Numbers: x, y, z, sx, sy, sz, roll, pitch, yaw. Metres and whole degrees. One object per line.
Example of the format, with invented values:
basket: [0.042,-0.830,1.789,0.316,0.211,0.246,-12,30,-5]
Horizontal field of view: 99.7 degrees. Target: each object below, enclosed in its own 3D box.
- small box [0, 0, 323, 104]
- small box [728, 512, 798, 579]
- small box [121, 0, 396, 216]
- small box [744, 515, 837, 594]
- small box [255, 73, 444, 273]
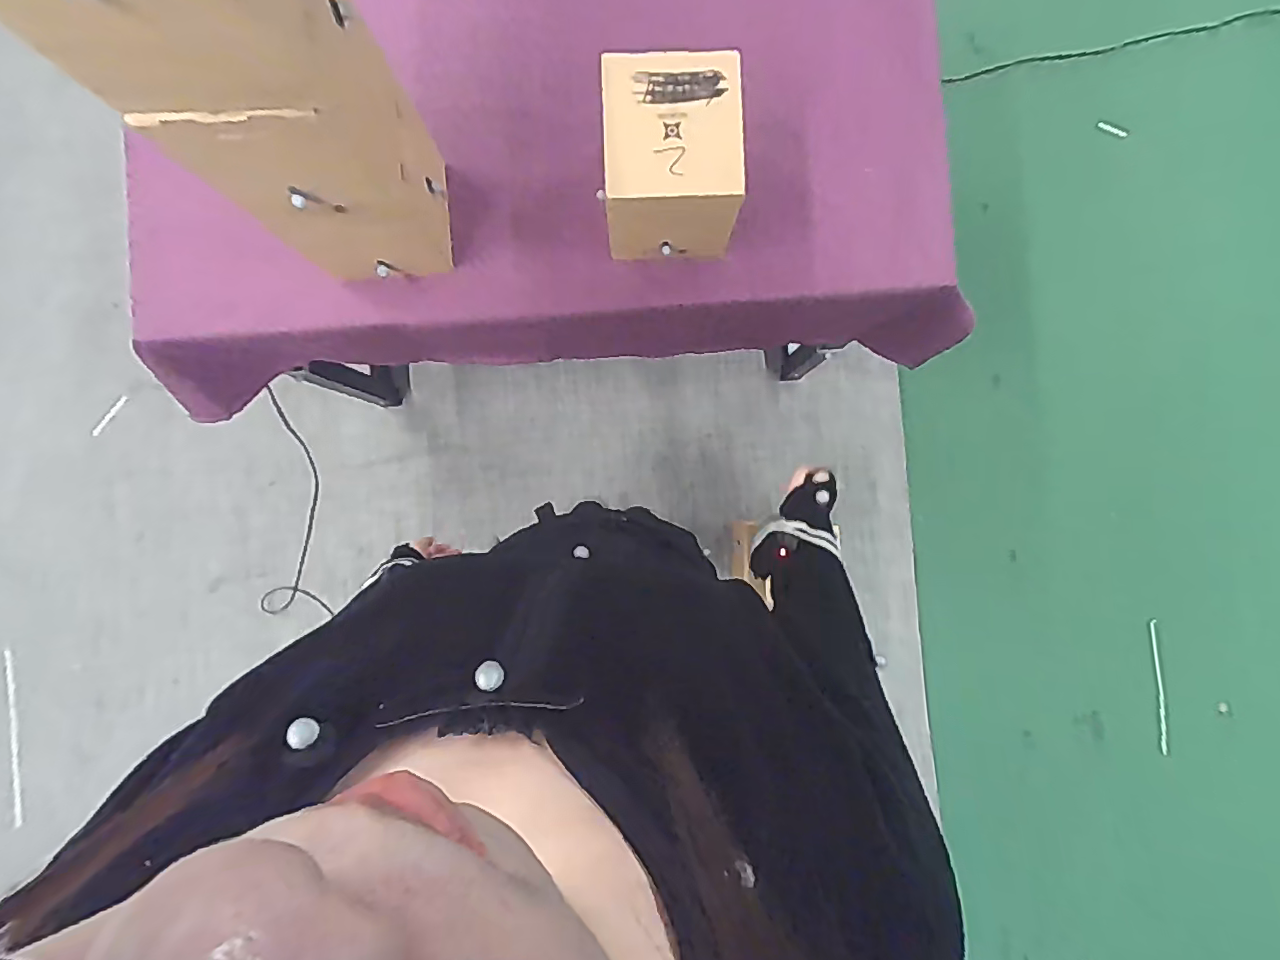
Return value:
small box: [-0.356,-0.400,0.379,0.179,0.176,0.168,-2,89,-2]
small box: [0.335,0.173,1.444,0.179,0.176,0.168,0,89,-2]
small box: [-0.364,-0.395,0.543,0.168,0.176,0.179,-4,89,-1]
small box: [0.347,0.172,1.281,0.179,0.176,0.168,-3,90,-2]
small box: [-0.367,-0.387,0.709,0.179,0.176,0.168,-5,89,-2]
